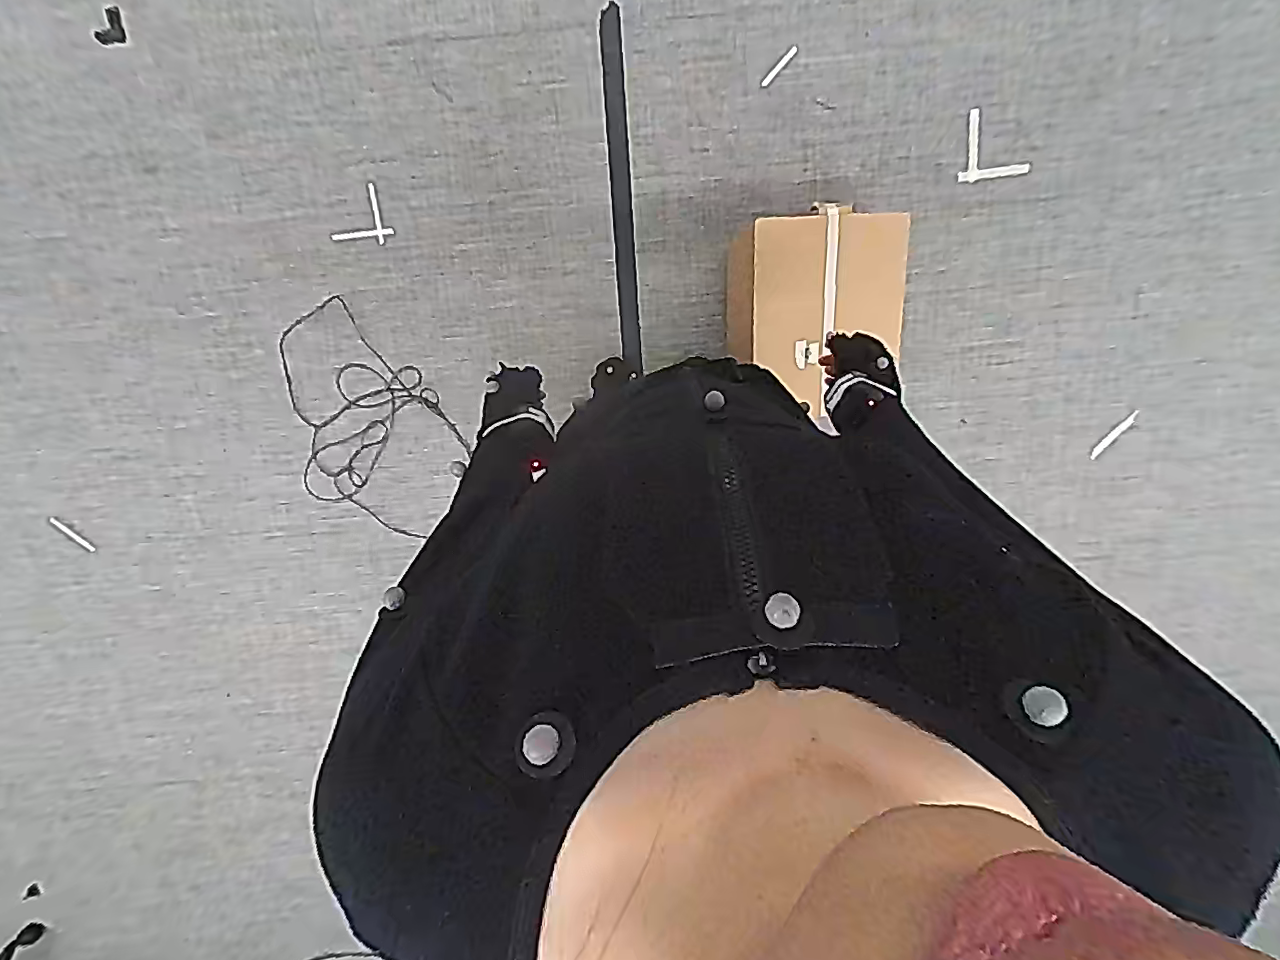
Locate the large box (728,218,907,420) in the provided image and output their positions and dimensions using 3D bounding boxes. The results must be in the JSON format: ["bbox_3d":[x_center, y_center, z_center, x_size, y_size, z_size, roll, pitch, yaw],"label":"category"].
[{"bbox_3d":[0.392,-0.372,1.281,0.320,0.320,0.408,-2,106,-1],"label":"large box"}]
